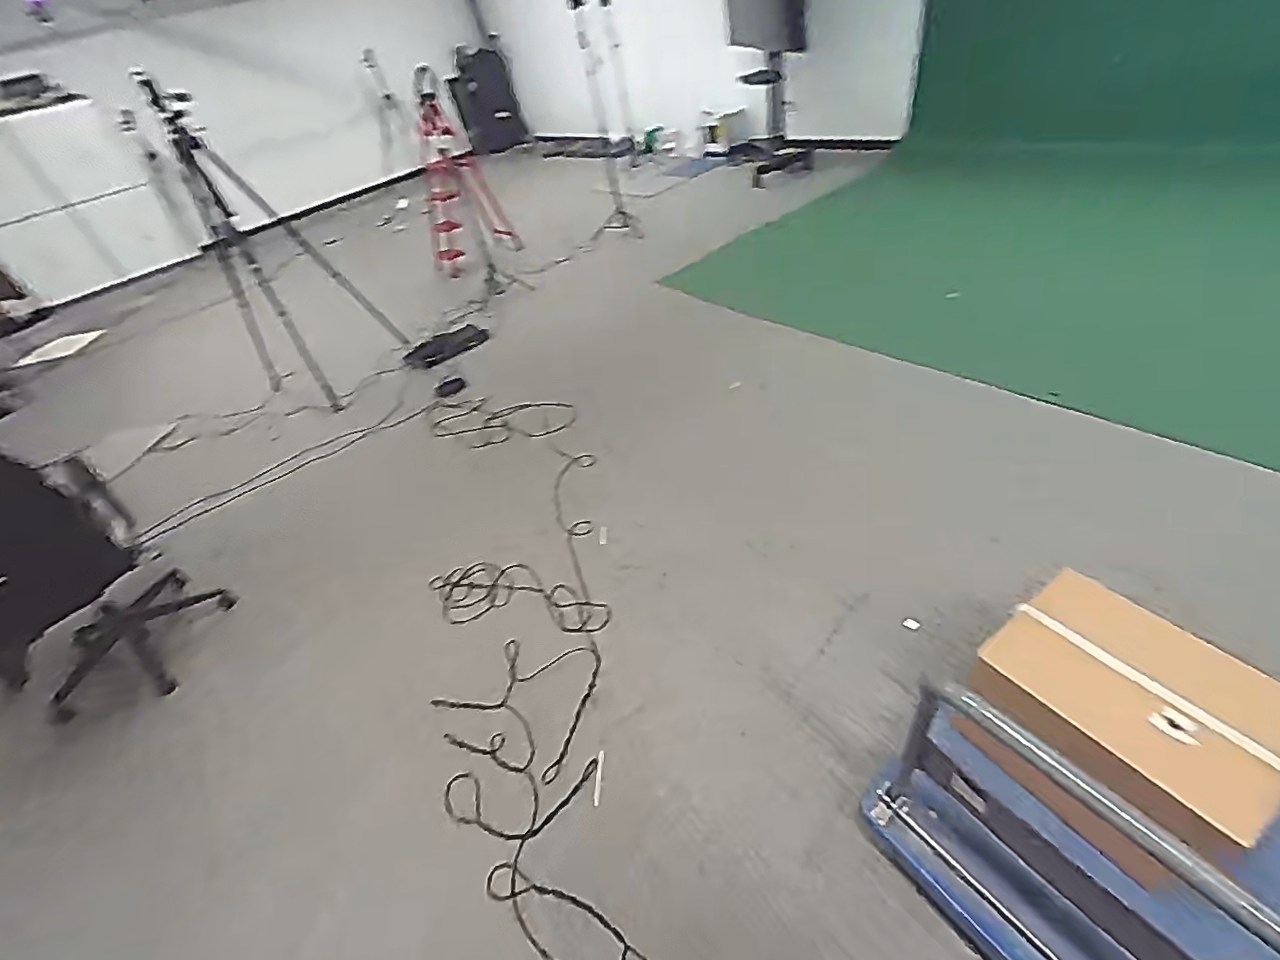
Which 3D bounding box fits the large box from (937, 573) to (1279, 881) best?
[{"bbox_3d":[0.897,0.472,1.081,0.320,0.320,0.408,-32,45,-18],"label":"large box"}]
